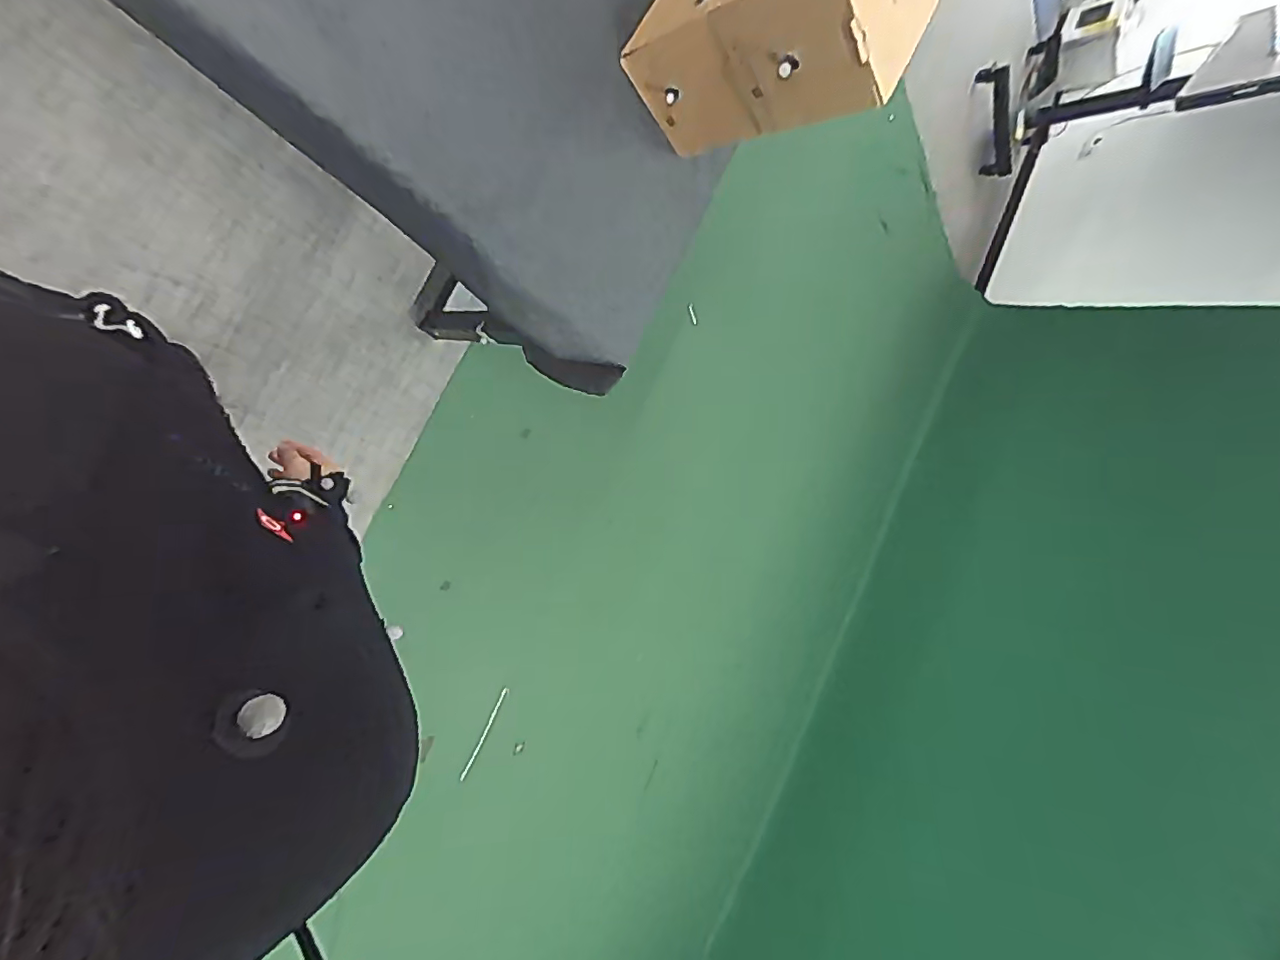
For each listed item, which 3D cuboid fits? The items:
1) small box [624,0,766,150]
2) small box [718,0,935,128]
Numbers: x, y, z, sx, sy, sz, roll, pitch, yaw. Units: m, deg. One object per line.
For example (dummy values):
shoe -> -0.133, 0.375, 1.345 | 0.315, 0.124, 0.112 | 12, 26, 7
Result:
small box -> 0.108, -0.605, 0.757 | 0.168, 0.176, 0.179 | 37, 79, -45
small box -> 0.214, -0.561, 0.640 | 0.168, 0.176, 0.179 | 37, 79, -45
